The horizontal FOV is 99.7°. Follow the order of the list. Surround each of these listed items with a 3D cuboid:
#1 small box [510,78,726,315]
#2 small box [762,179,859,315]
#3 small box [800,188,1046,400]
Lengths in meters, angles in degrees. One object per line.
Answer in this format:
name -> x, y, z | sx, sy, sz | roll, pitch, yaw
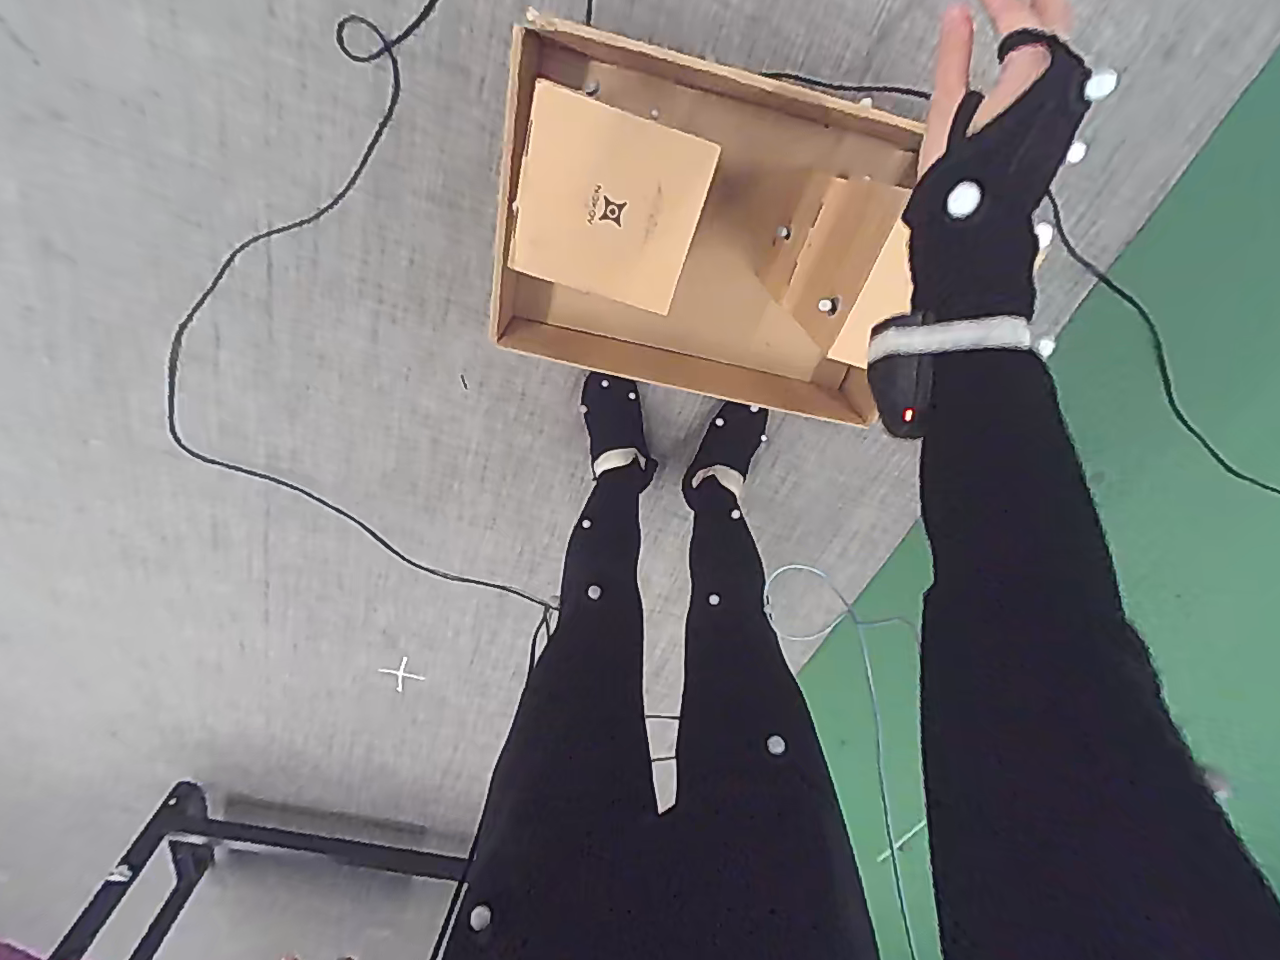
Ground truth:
small box -> -0.027, -0.307, 0.593 | 0.179, 0.176, 0.168 | 15, 123, -10
small box -> 0.296, -0.319, 0.780 | 0.179, 0.176, 0.168 | 15, 121, -9
small box -> 0.310, -0.226, 0.644 | 0.168, 0.176, 0.179 | 15, 120, -10
